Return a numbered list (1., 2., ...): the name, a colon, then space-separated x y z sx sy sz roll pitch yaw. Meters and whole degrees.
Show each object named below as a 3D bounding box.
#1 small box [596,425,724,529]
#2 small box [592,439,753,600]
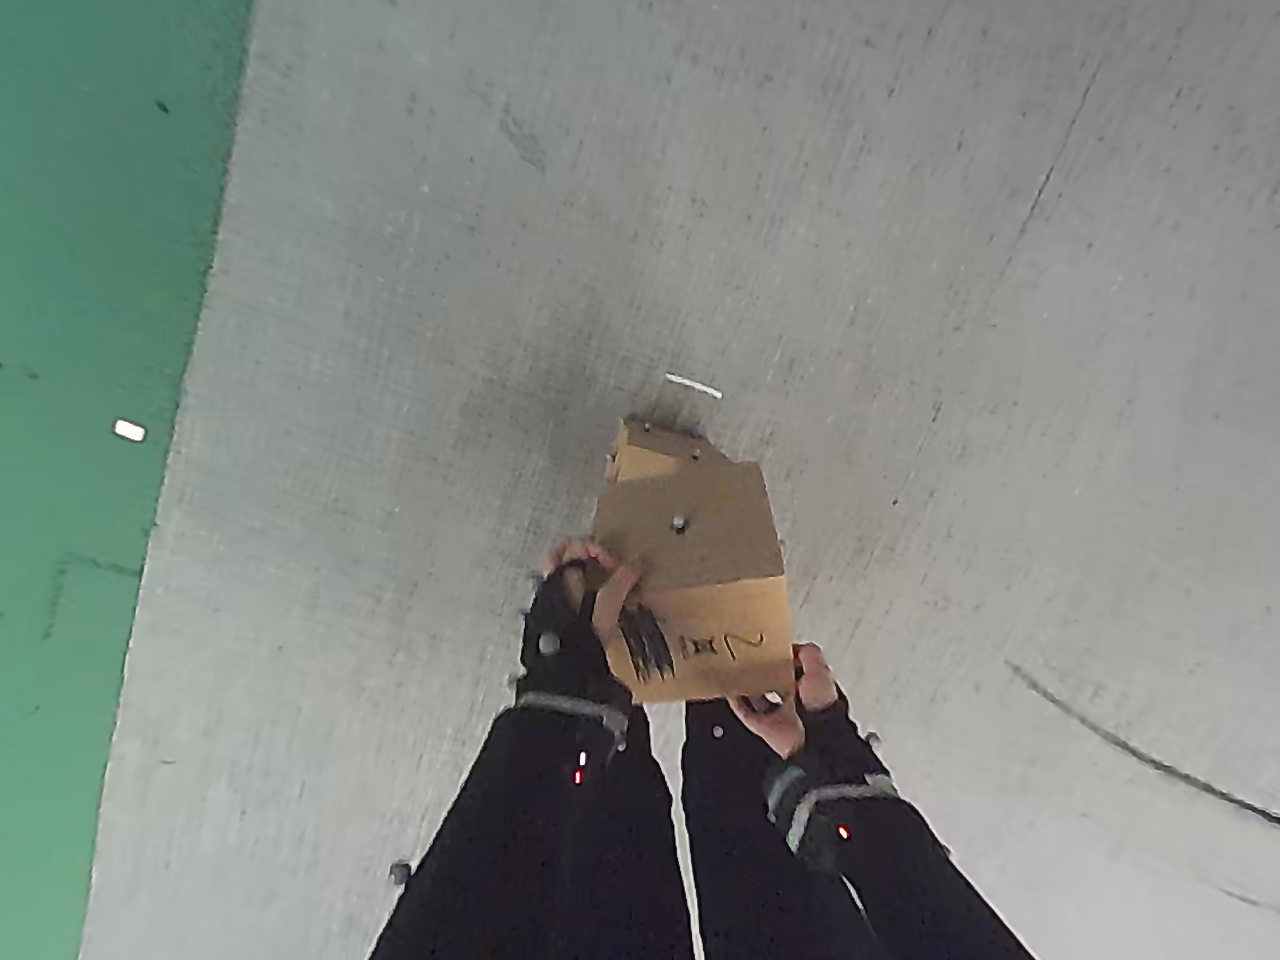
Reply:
1. small box: 0.032 0.008 0.948 0.179 0.176 0.168 16 102 -4
2. small box: 0.041 0.047 0.787 0.179 0.176 0.168 17 101 -4
